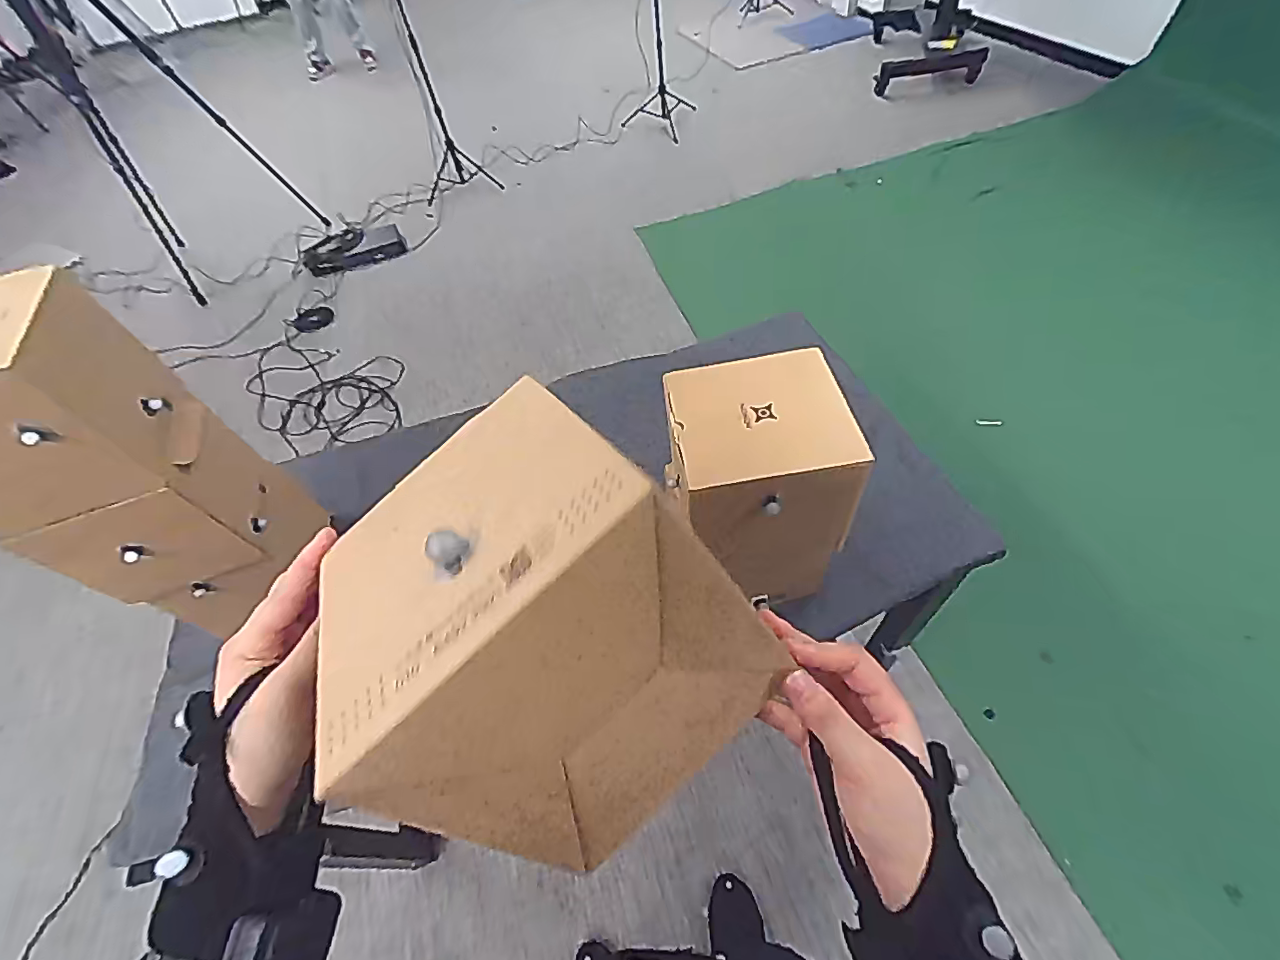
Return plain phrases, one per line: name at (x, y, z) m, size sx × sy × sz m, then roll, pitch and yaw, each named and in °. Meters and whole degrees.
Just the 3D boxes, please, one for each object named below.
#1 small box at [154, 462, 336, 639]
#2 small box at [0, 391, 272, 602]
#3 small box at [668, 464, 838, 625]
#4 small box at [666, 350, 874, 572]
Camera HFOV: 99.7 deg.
small box at (-0.585, 0.109, 0.816) m, size 0.168 × 0.176 × 0.179 m, roll -21°, pitch 55°, yaw -8°
small box at (-0.596, 0.025, 0.674) m, size 0.179 × 0.176 × 0.168 m, roll -21°, pitch 55°, yaw -7°
small box at (0.145, 0.070, 0.743) m, size 0.168 × 0.176 × 0.179 m, roll -18°, pitch 53°, yaw -4°
small box at (0.130, -0.016, 0.605) m, size 0.179 × 0.176 × 0.168 m, roll -10°, pitch 52°, yaw 2°
